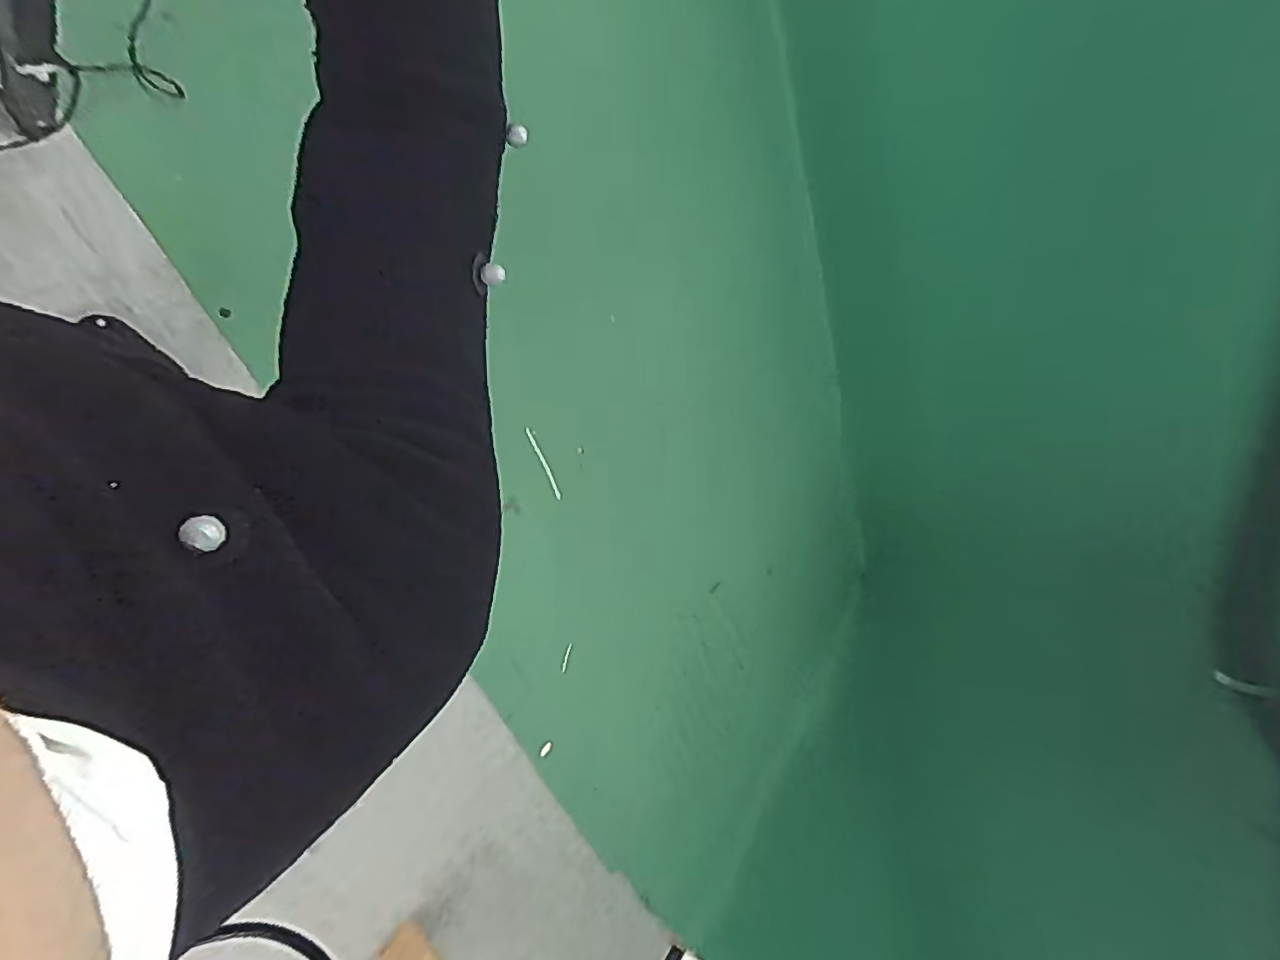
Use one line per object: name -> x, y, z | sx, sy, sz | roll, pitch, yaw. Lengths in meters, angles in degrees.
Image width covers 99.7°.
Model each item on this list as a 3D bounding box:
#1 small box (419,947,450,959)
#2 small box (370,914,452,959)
small box -> -0.637, 1.605, 1.670 | 0.168, 0.176, 0.179 | -44, 126, -34
small box -> -0.753, 1.587, 1.781 | 0.168, 0.176, 0.179 | -41, 123, -35
